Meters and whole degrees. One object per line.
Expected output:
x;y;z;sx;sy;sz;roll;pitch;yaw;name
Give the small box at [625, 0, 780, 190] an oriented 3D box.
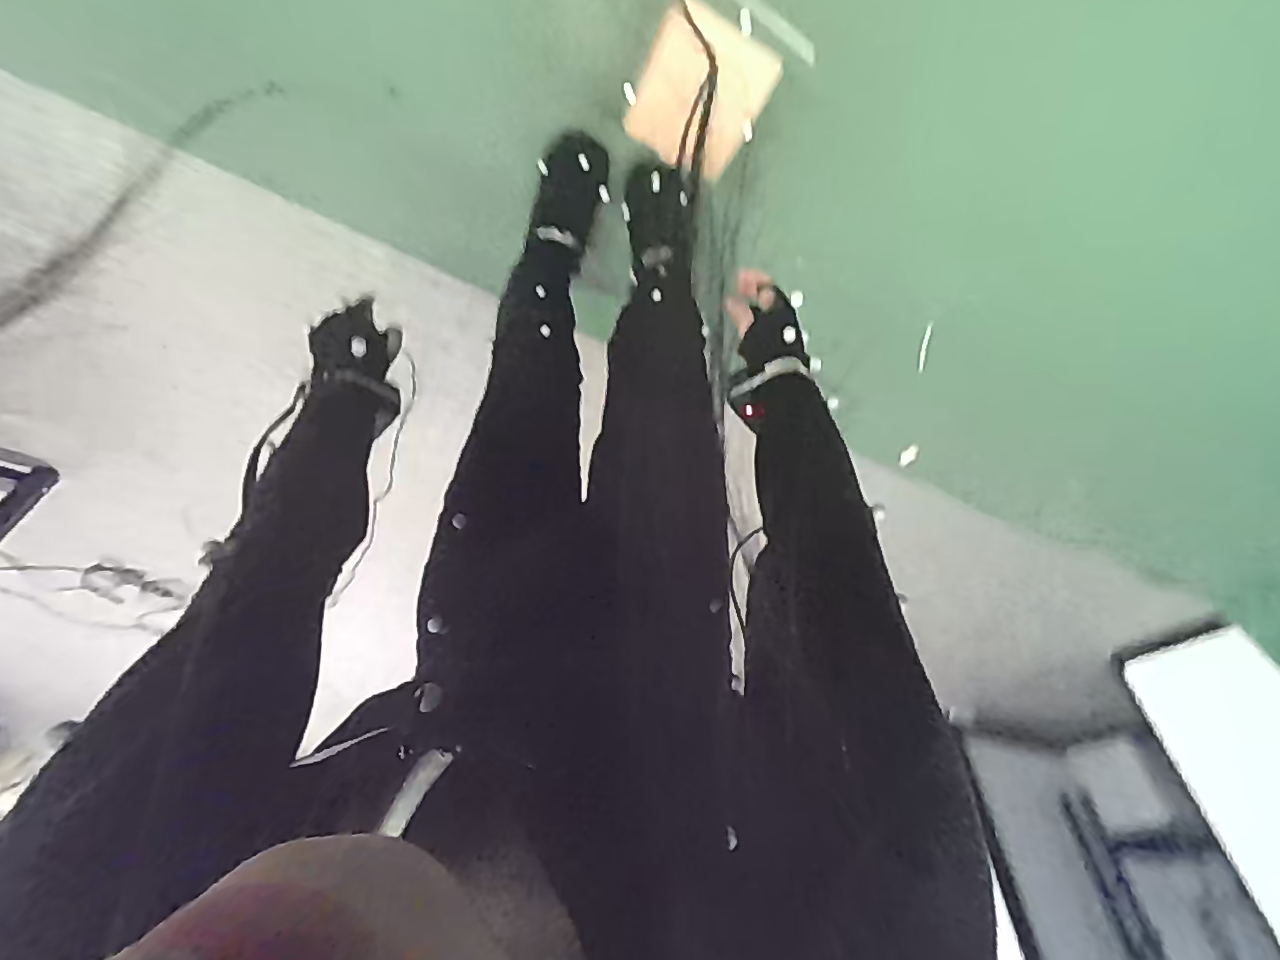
0.086;-0.602;0.838;0.168;0.176;0.179;19;136;-20;small box
